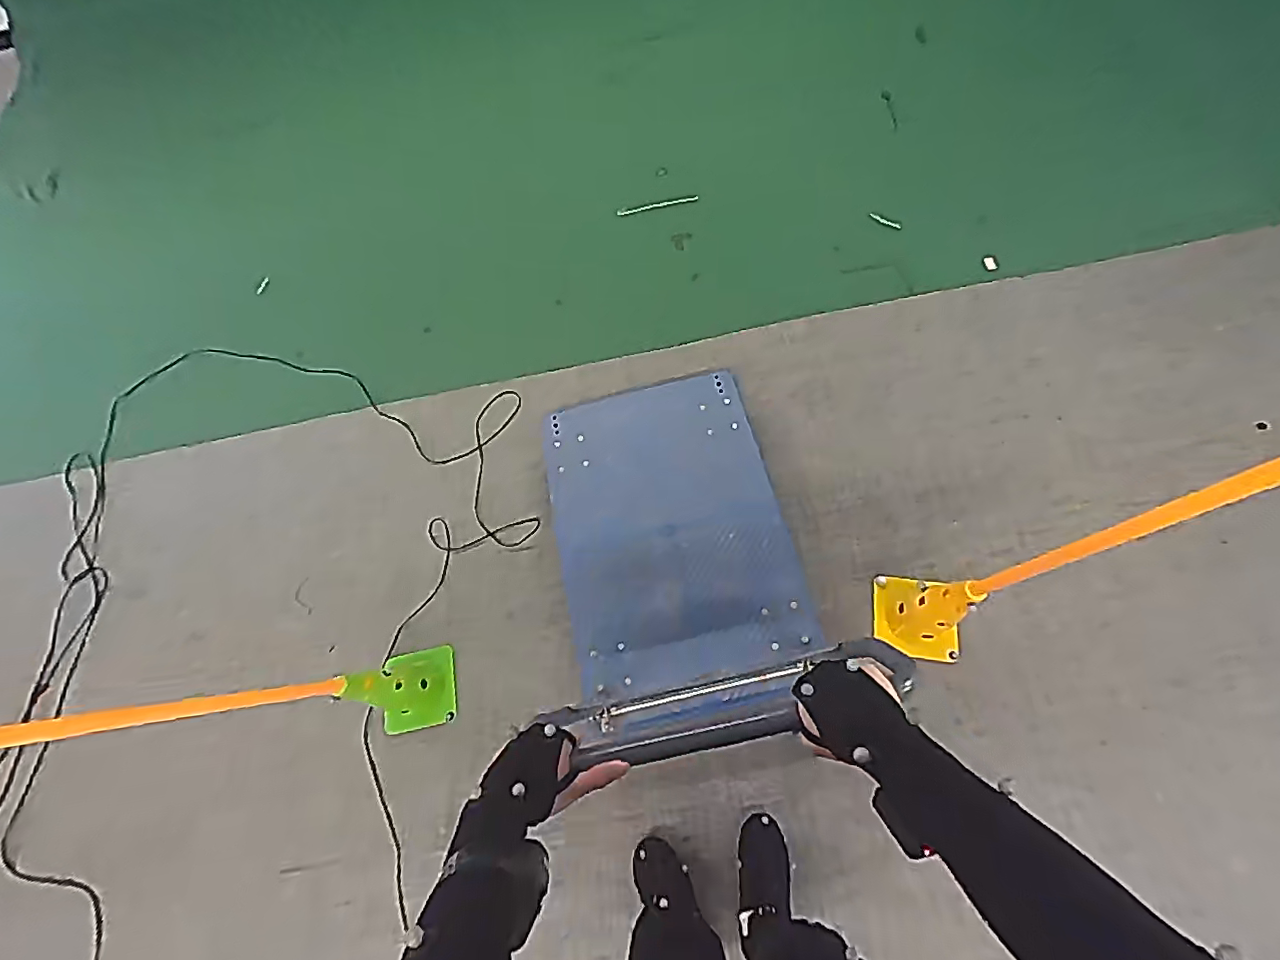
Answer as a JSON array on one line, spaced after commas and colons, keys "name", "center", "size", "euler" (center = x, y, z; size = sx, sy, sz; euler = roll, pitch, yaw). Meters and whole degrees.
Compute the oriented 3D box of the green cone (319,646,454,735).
[{"name": "green cone", "center": [-0.629, 0.501, 1.306], "size": [0.202, 0.368, 0.200], "euler": [-15, 66, 3]}]
